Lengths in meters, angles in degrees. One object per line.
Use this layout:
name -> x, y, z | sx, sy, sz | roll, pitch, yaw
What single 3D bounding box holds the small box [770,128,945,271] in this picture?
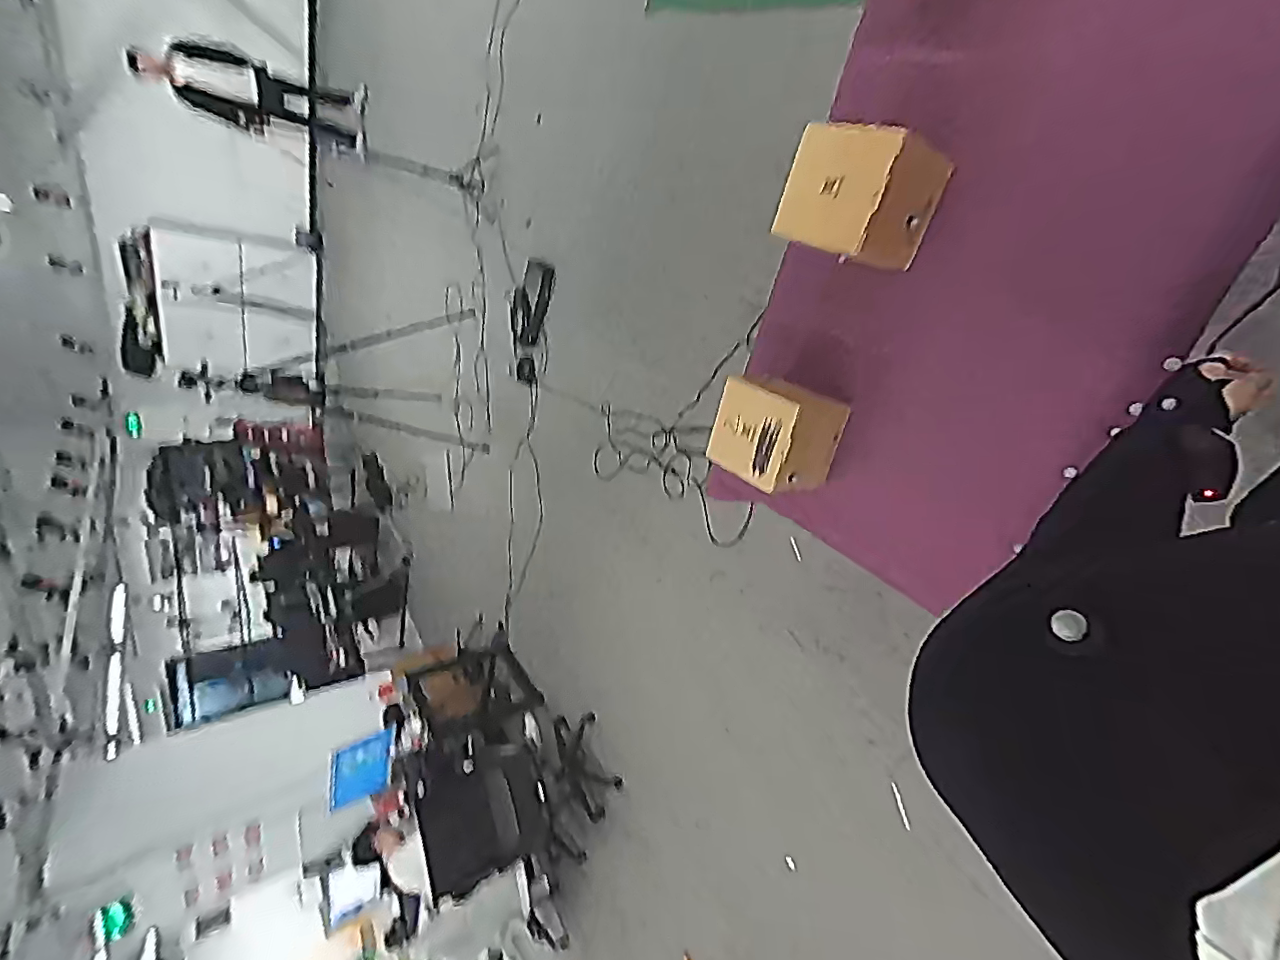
small box -> 0.354, -0.453, 0.887 | 0.179, 0.176, 0.168 | 37, 122, 40
